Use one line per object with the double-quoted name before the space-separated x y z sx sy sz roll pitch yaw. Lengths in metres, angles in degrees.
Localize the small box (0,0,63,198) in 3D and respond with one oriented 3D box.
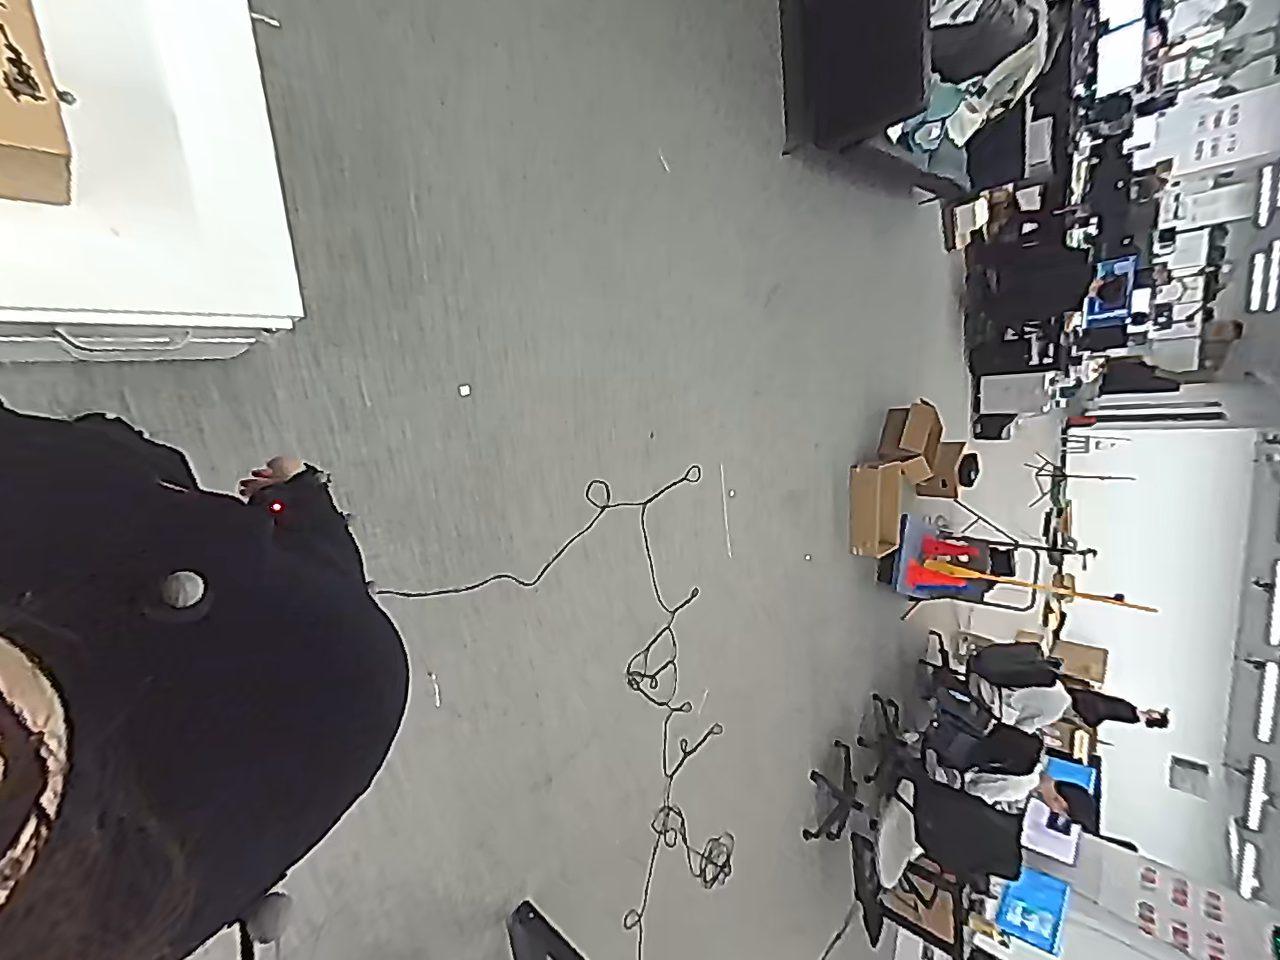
"small box" -0.691 -0.389 0.512 0.179 0.176 0.168 -16 104 -46
